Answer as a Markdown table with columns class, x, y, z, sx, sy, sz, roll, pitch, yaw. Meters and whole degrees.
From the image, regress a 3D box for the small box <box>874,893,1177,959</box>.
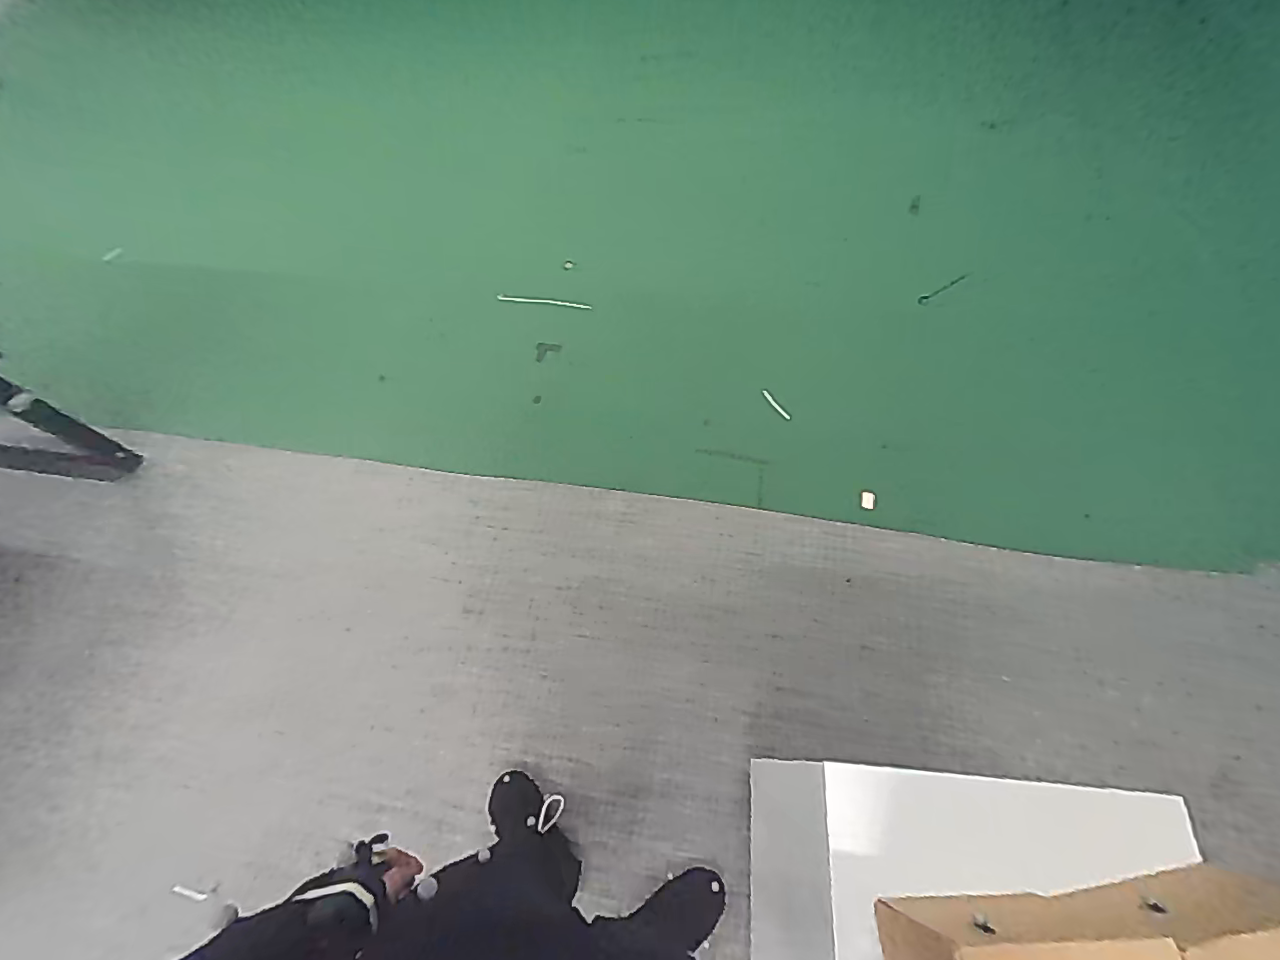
| class | x | y | z | sx | sy | sz | roll | pitch | yaw |
| --- | --- | --- | --- | --- | --- | --- | --- | --- | --- |
| small box | 0.331 | 0.470 | 0.458 | 0.179 | 0.176 | 0.168 | -2 | 62 | -2 |
